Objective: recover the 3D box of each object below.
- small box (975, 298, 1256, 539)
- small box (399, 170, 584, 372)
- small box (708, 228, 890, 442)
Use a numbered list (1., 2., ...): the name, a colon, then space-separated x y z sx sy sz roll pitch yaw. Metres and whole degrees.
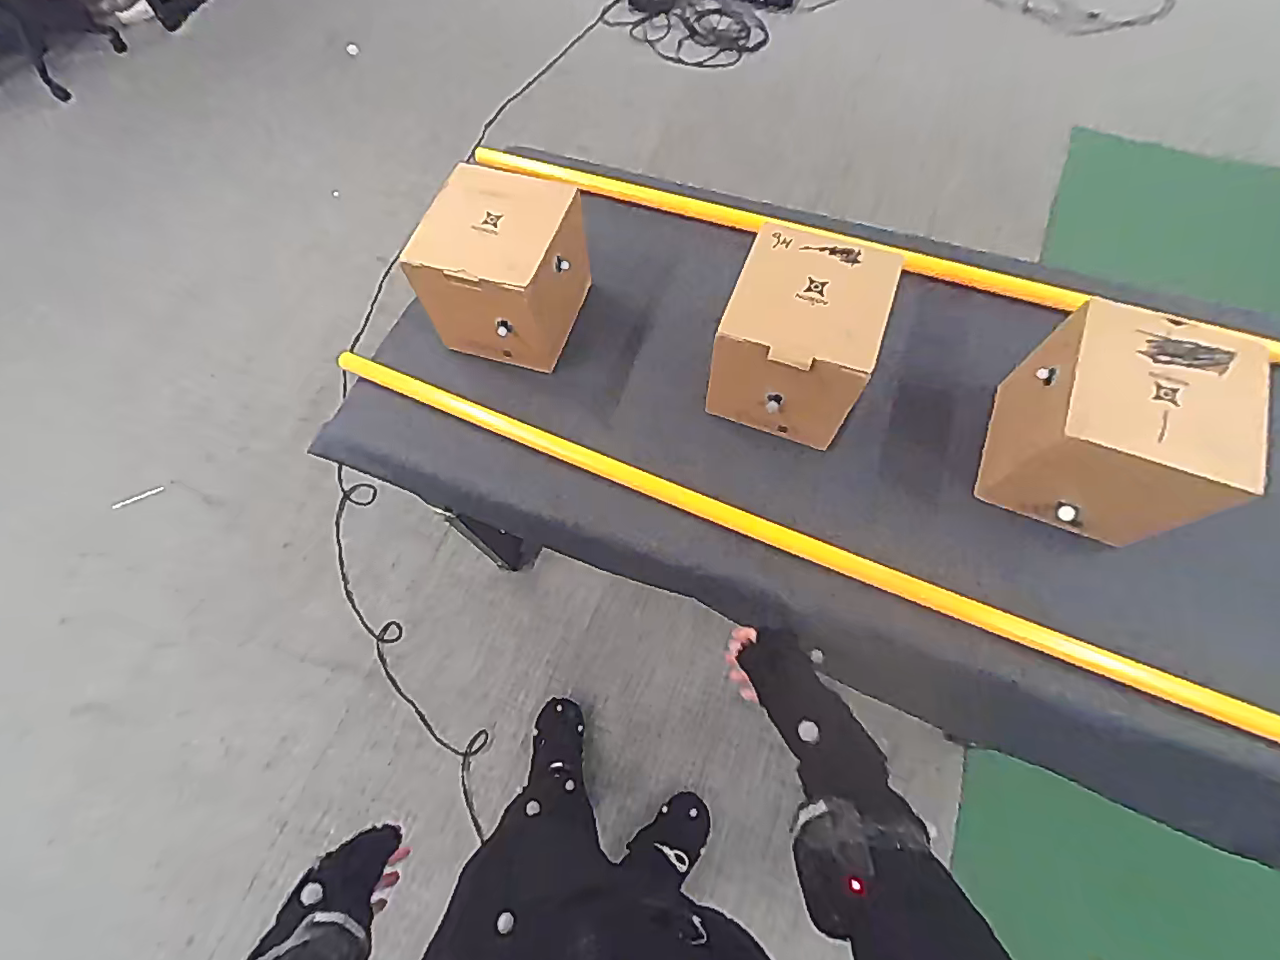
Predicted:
1. small box: 0.505 -0.060 0.597 0.168 0.176 0.179 21 70 12
2. small box: -0.182 -0.273 0.729 0.168 0.176 0.179 15 66 7
3. small box: 0.185 -0.170 0.667 0.168 0.176 0.179 16 67 11
